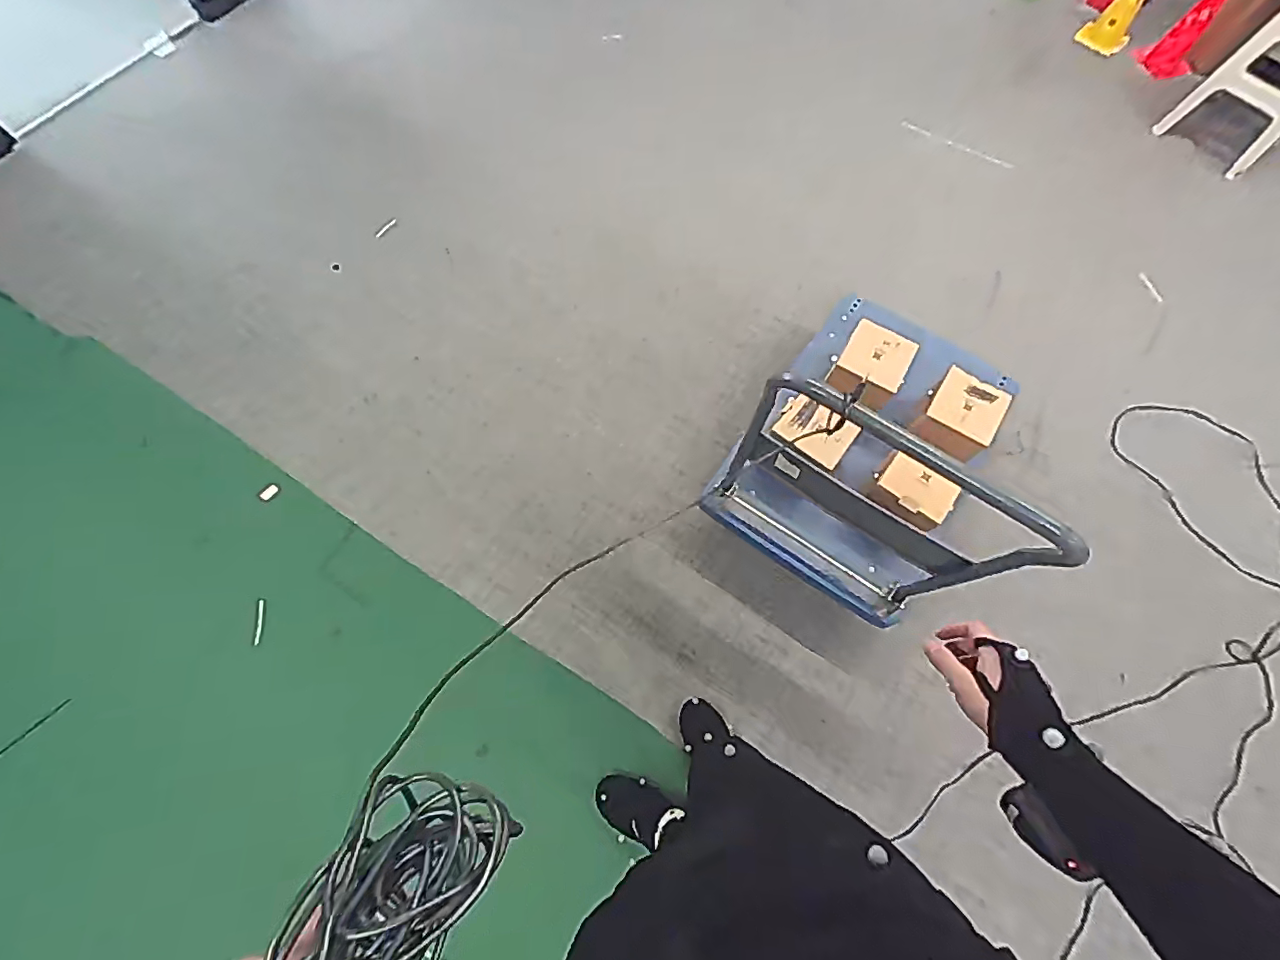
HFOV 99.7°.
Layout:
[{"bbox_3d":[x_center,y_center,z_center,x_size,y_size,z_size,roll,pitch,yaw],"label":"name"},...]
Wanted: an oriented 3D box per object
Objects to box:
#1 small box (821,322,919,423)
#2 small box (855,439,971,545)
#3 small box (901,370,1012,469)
[{"bbox_3d":[0.618,-0.287,1.477,0.168,0.176,0.179,31,71,10],"label":"small box"},{"bbox_3d":[0.671,0.036,1.352,0.168,0.176,0.179,36,72,12],"label":"small box"},{"bbox_3d":[0.824,-0.147,1.426,0.168,0.176,0.179,33,72,12],"label":"small box"}]
